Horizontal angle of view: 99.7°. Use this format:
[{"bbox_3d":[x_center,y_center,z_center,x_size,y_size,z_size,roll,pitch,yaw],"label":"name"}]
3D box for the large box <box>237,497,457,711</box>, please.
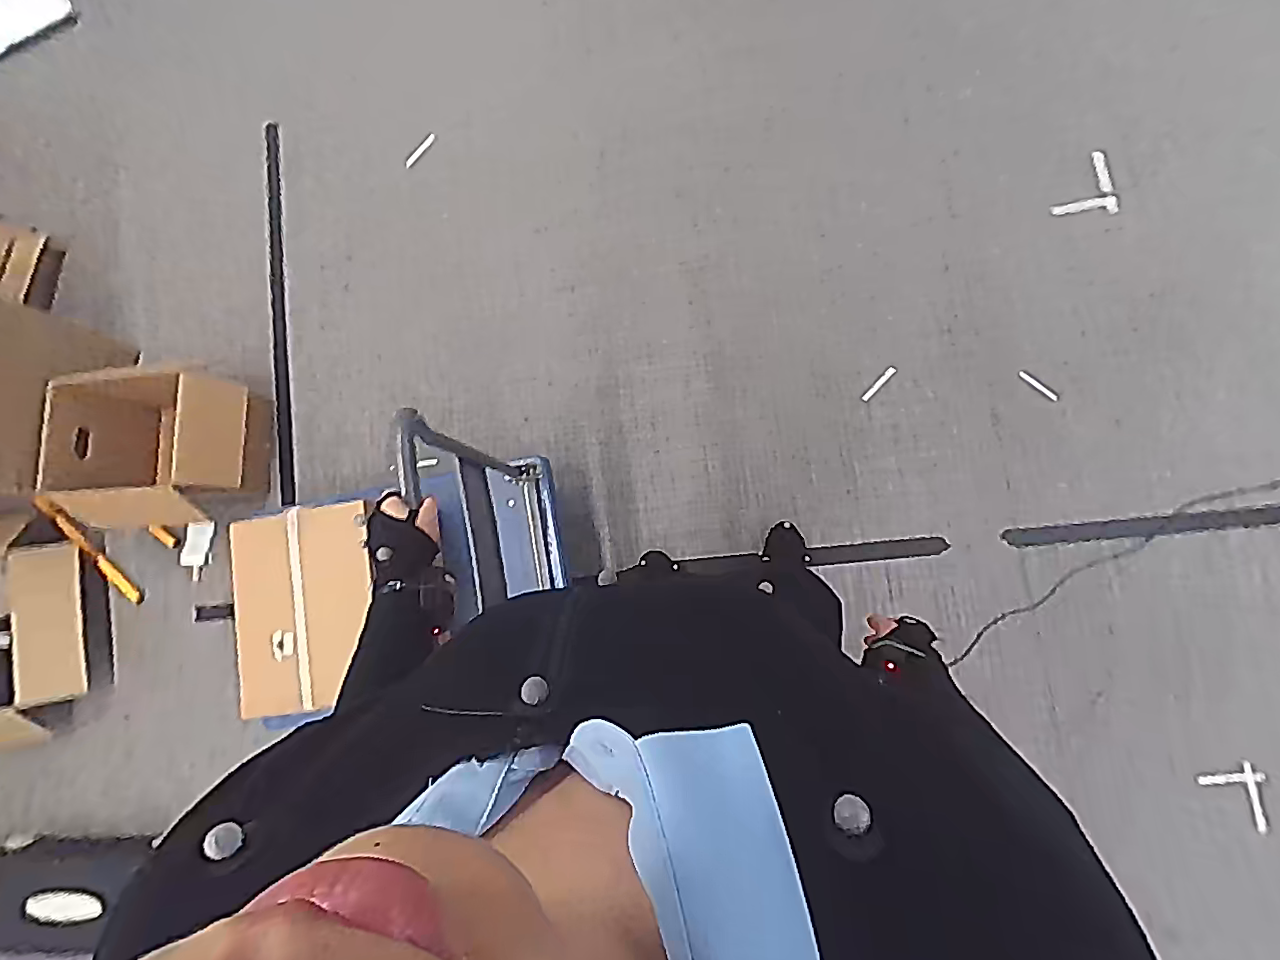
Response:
[{"bbox_3d":[-0.662,0.269,1.266,0.320,0.320,0.408,-10,84,7],"label":"large box"}]
